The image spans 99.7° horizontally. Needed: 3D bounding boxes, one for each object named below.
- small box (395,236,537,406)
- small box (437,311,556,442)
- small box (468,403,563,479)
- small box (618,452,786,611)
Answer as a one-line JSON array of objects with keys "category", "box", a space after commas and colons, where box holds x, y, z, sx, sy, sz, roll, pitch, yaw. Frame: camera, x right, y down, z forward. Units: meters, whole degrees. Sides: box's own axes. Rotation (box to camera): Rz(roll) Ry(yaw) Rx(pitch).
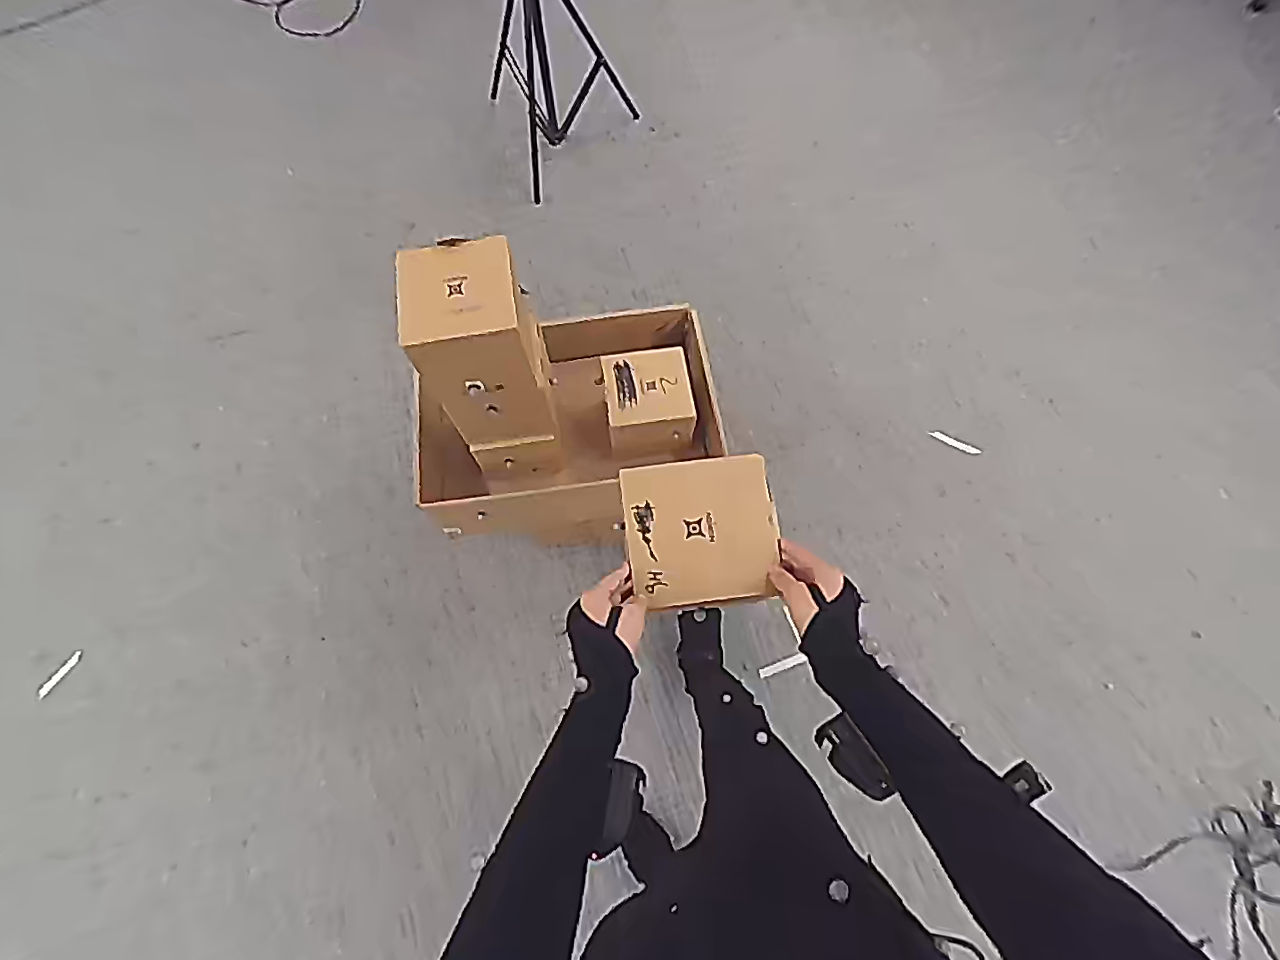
[{"category": "small box", "box": [-0.262, -0.240, 0.837, 0.168, 0.176, 0.179, -10, 68, -3]}, {"category": "small box", "box": [-0.257, -0.181, 0.990, 0.179, 0.176, 0.168, -8, 69, -4]}, {"category": "small box", "box": [-0.260, -0.113, 1.139, 0.168, 0.176, 0.179, -9, 68, -4]}, {"category": "small box", "box": [0.066, 0.073, 0.693, 0.179, 0.176, 0.168, -6, 73, -4]}]
